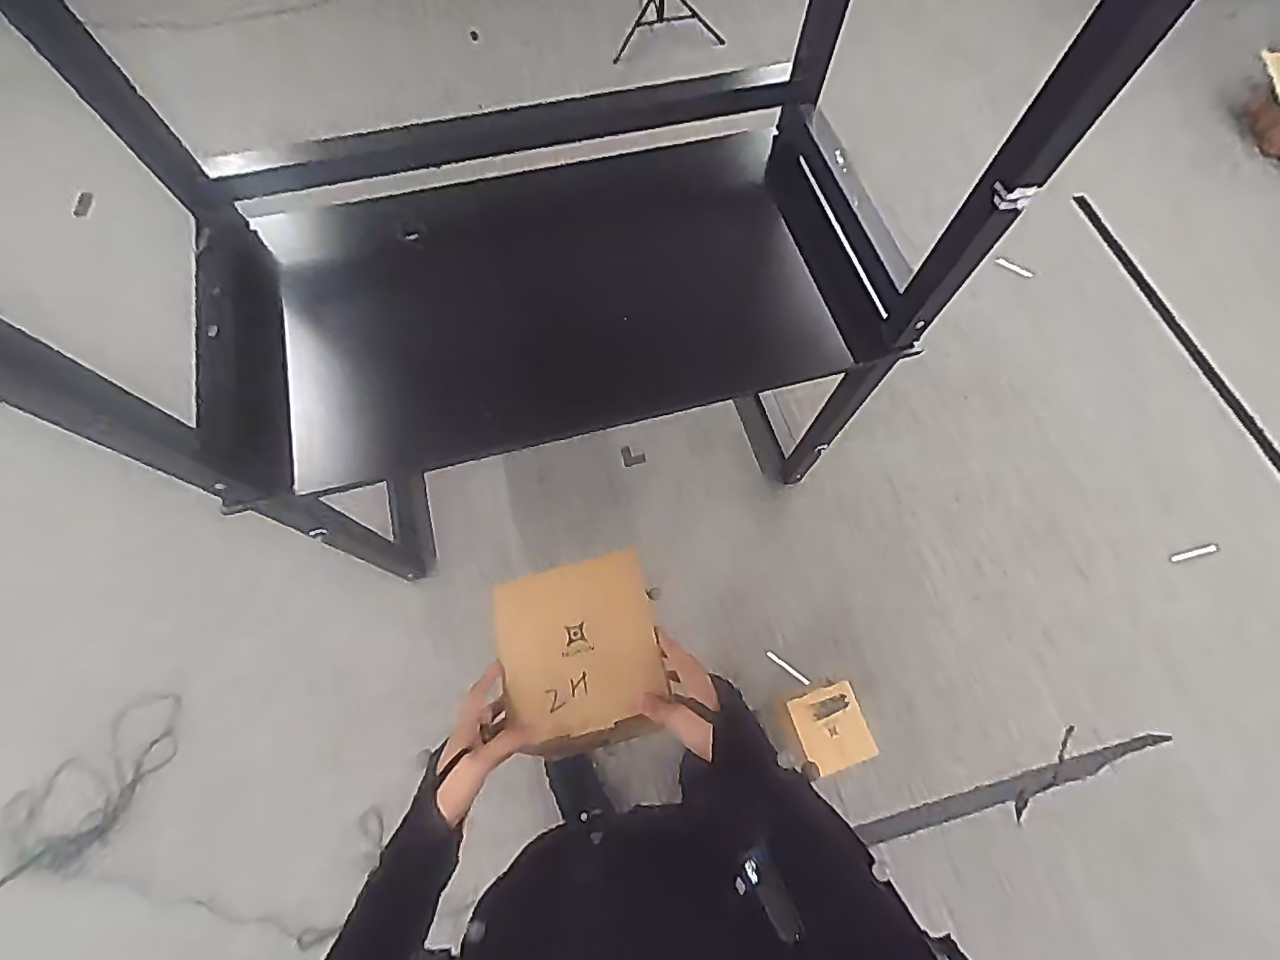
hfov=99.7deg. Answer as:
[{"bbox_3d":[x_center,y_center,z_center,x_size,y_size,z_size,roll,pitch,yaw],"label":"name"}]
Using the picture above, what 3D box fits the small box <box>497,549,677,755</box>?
[{"bbox_3d":[-0.057,0.207,0.633,0.168,0.176,0.179,-14,60,-1],"label":"small box"}]
